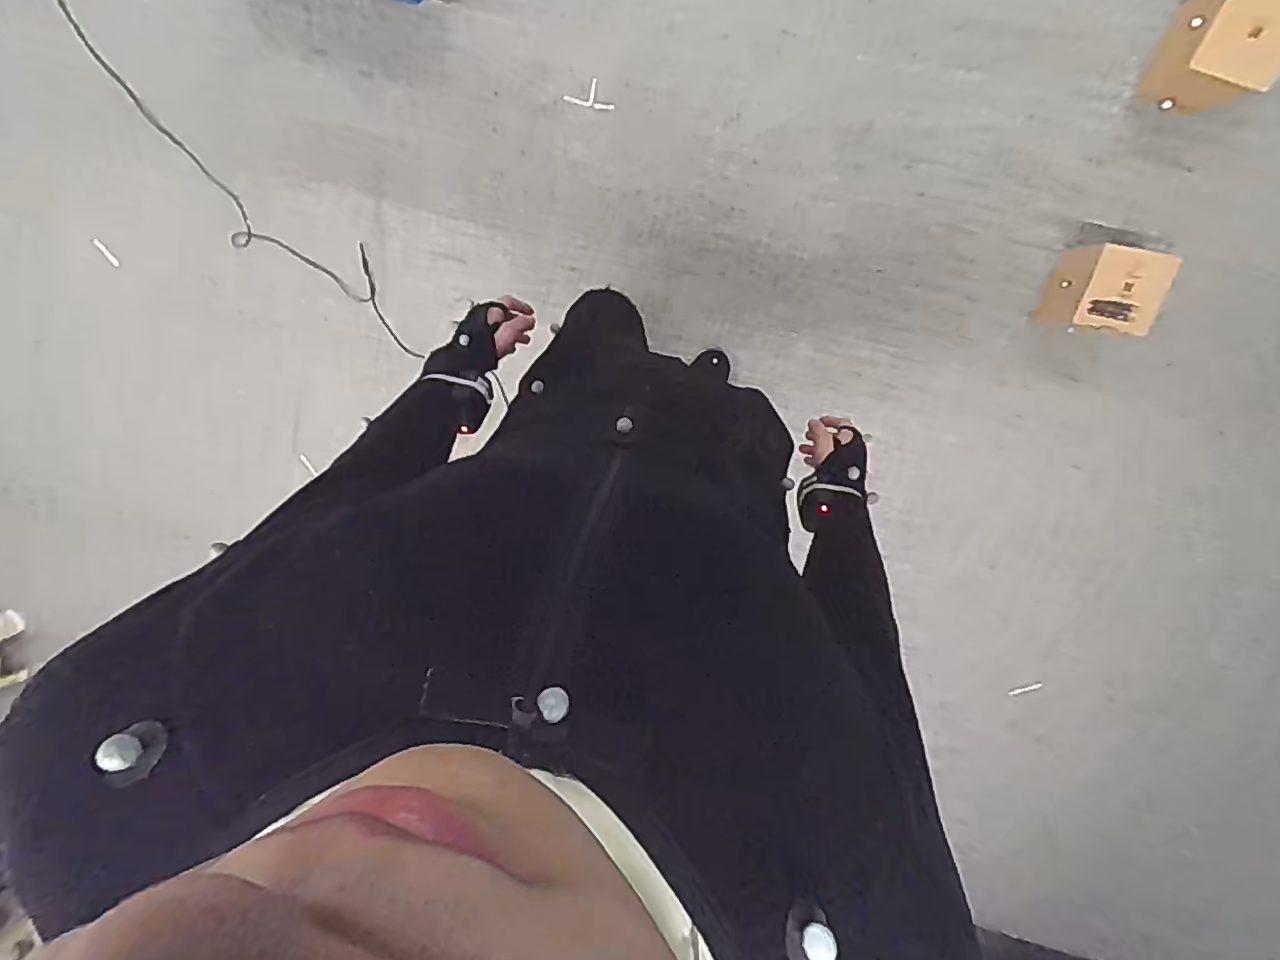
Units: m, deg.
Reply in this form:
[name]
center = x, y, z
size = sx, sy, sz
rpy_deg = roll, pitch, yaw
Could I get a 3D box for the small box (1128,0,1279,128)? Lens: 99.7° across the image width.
[small box]
center = 1.201, -0.885, 1.137
size = 0.168, 0.176, 0.179
rpy_deg = 21, 109, 1
